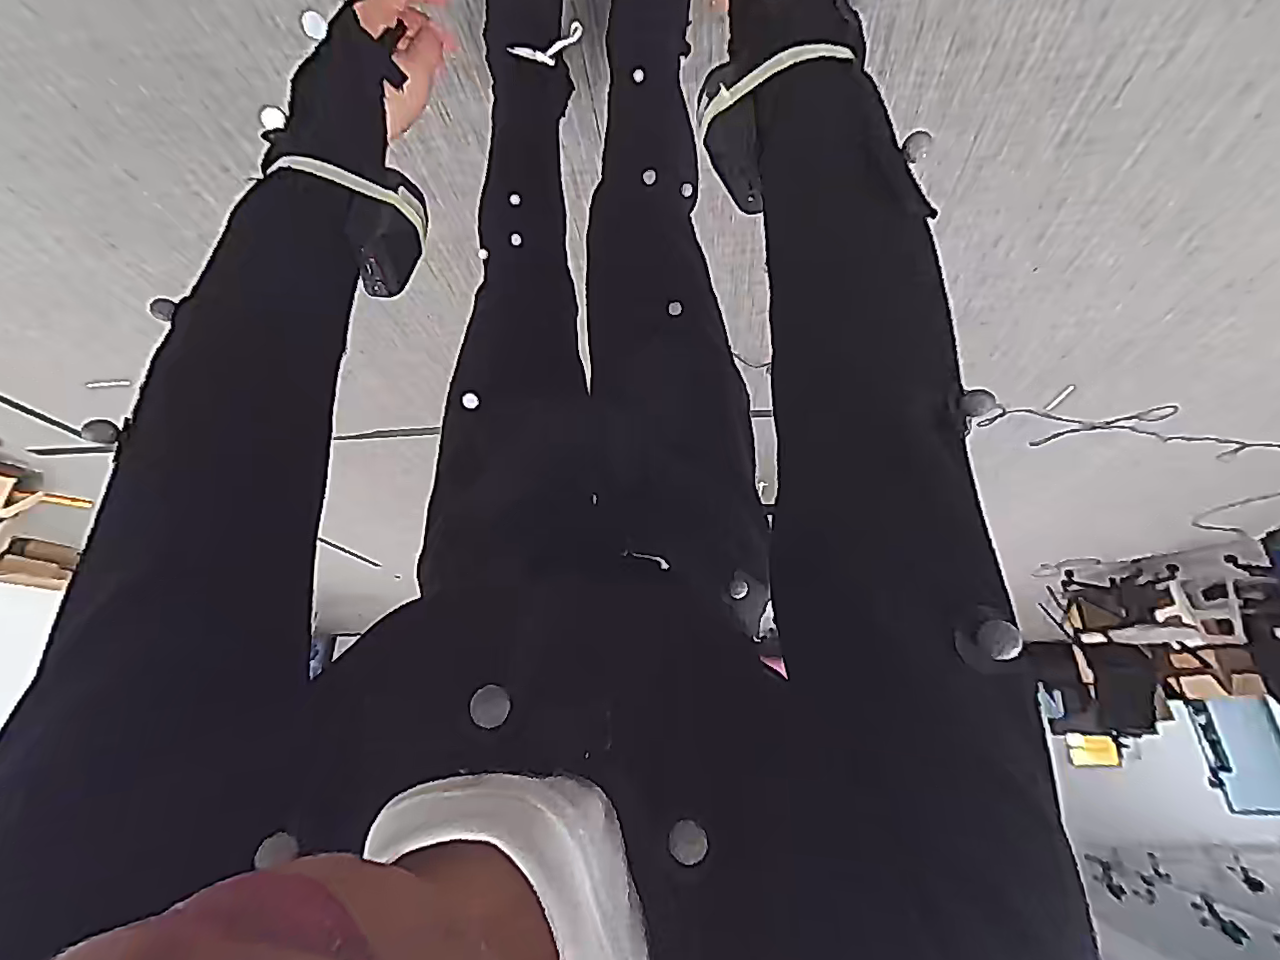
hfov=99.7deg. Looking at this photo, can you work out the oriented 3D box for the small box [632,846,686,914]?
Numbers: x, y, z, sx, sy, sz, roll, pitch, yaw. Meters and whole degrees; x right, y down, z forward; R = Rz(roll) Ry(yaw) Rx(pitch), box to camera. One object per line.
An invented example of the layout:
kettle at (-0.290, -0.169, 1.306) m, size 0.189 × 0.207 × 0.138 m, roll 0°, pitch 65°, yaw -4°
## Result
small box at (0.069, 1.436, 1.951) m, size 0.179 × 0.176 × 0.168 m, roll -4°, pitch 155°, yaw 5°
